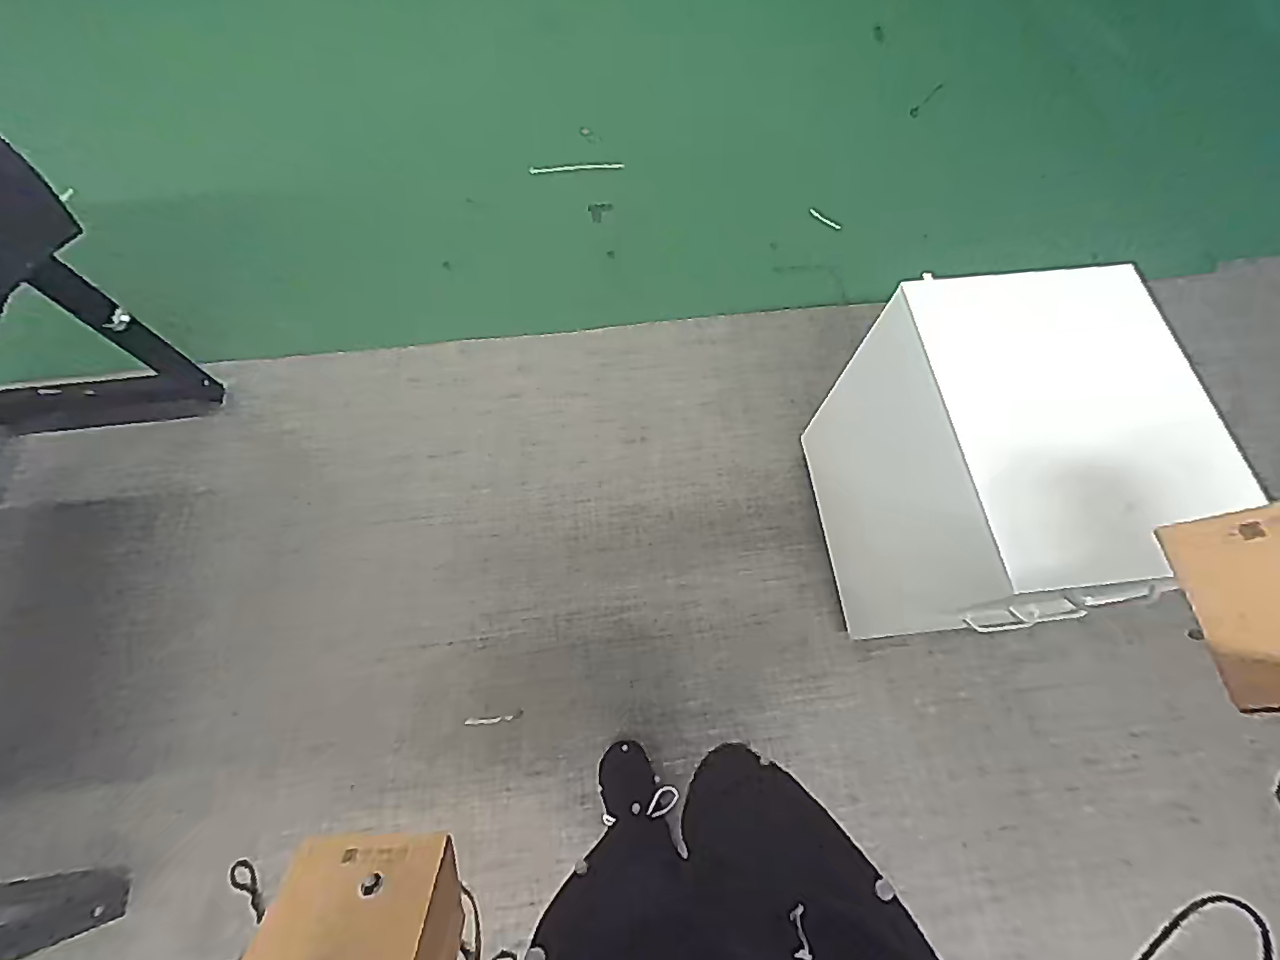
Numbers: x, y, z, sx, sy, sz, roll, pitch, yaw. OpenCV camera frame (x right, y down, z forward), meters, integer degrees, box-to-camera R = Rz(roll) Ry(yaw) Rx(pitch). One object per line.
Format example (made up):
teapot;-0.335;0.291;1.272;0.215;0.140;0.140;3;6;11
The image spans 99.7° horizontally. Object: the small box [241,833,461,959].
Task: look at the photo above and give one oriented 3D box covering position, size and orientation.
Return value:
small box;-0.302;0.520;0.583;0.168;0.179;0.176;1;23;-2
